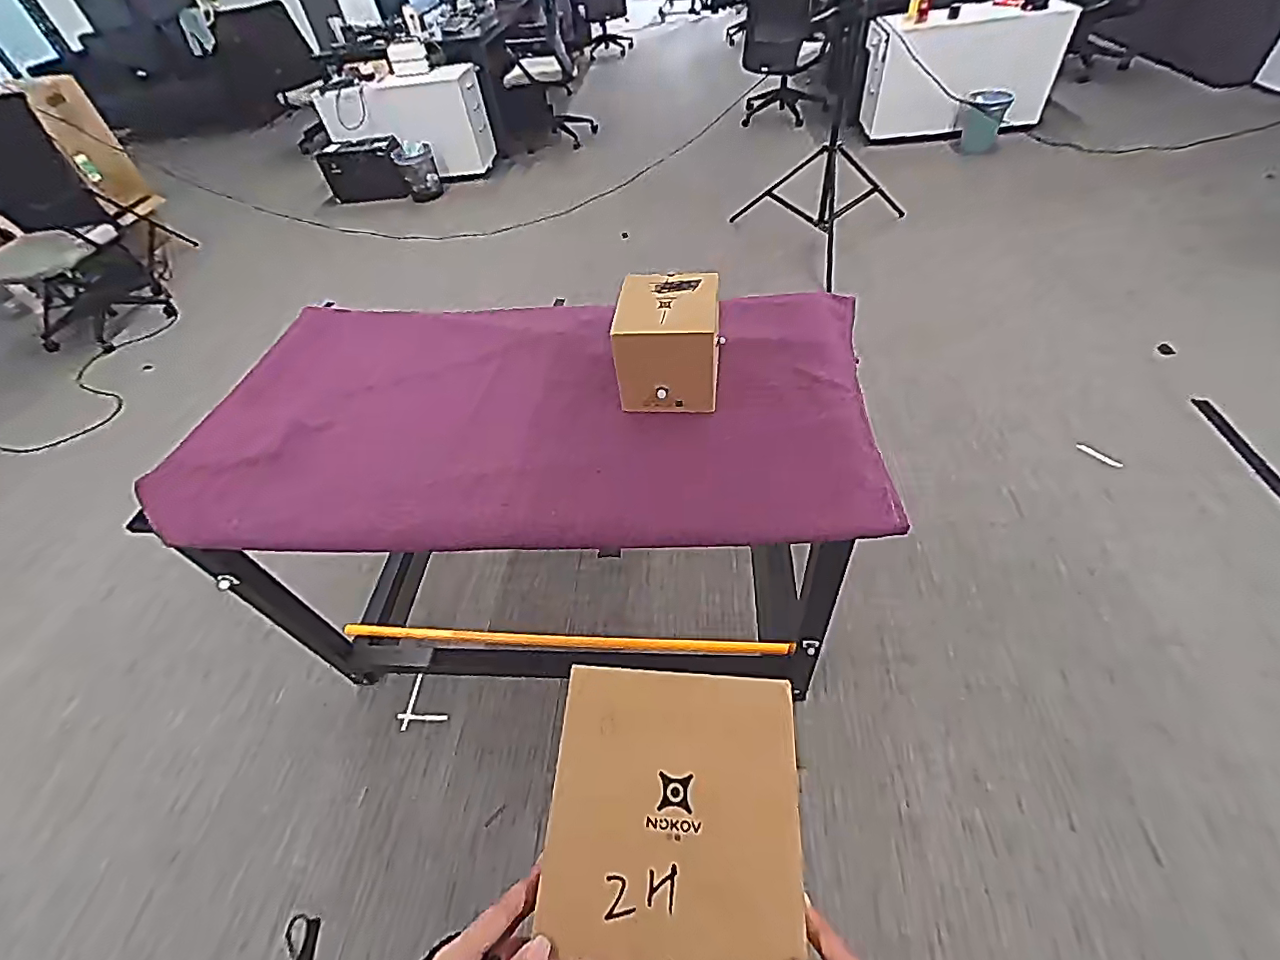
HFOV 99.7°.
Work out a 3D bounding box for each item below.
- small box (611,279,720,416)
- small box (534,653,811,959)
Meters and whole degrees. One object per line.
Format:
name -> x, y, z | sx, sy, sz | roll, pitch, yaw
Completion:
small box -> 0.053, -0.234, 0.954 | 0.168, 0.176, 0.179 | 2, 50, 10
small box -> 0.030, 0.253, 0.424 | 0.168, 0.176, 0.179 | 2, 57, 7
